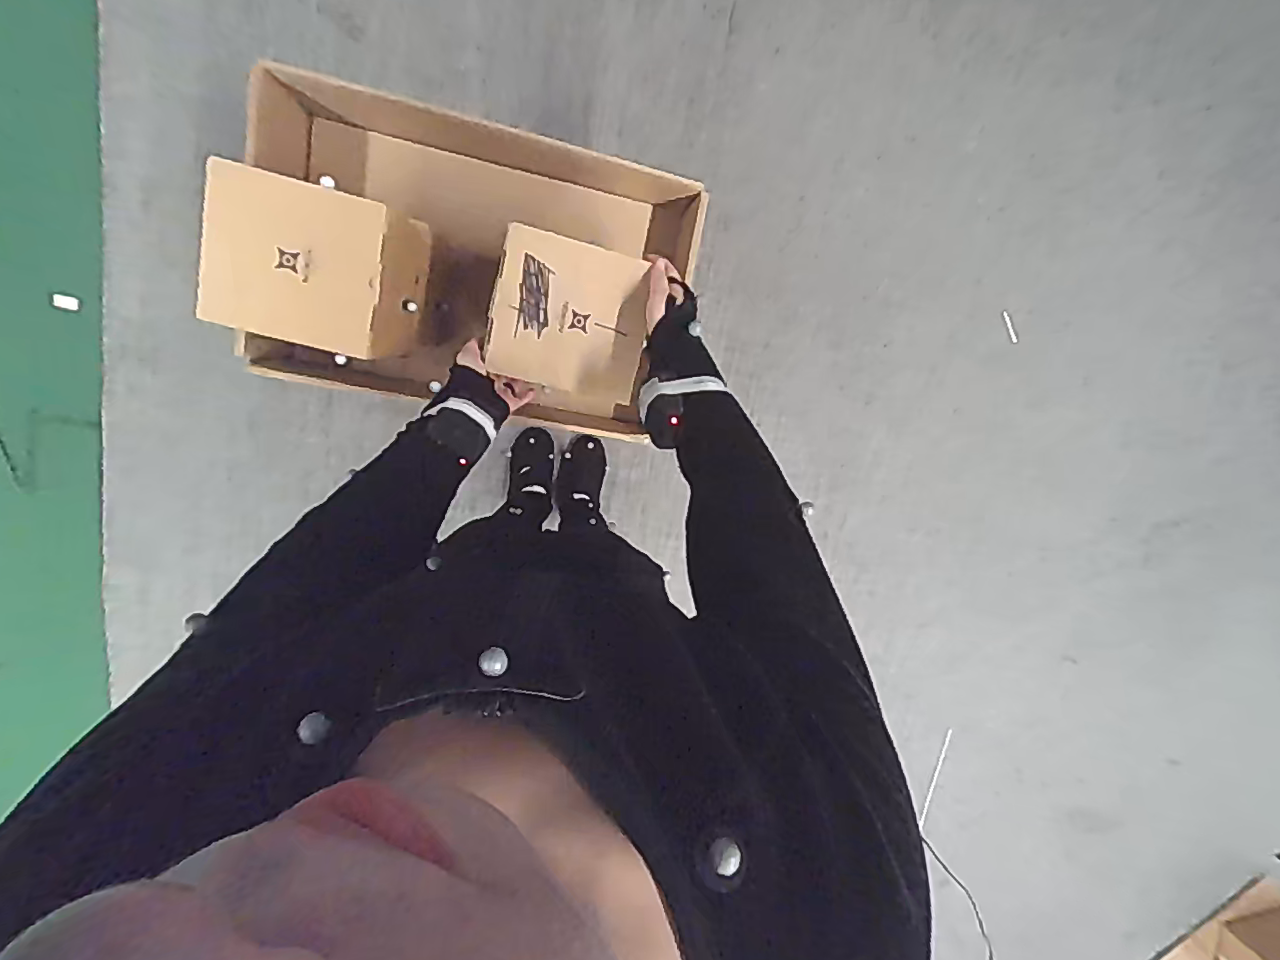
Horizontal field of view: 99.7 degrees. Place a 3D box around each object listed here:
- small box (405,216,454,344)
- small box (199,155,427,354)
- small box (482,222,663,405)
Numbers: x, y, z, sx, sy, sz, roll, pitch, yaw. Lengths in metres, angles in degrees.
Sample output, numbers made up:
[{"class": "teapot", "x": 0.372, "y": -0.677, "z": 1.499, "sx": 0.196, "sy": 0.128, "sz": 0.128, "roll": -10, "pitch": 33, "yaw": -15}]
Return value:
[{"class": "small box", "x": -0.393, "y": -0.302, "z": 0.804, "sx": 0.179, "sy": 0.176, "sz": 0.168, "roll": 11, "pitch": 101, "yaw": -11}, {"class": "small box", "x": -0.376, "y": -0.251, "z": 0.650, "sx": 0.179, "sy": 0.176, "sz": 0.168, "roll": 12, "pitch": 101, "yaw": -11}, {"class": "small box", "x": -0.088, "y": -0.205, "z": 0.690, "sx": 0.179, "sy": 0.176, "sz": 0.168, "roll": 13, "pitch": 105, "yaw": -12}]
